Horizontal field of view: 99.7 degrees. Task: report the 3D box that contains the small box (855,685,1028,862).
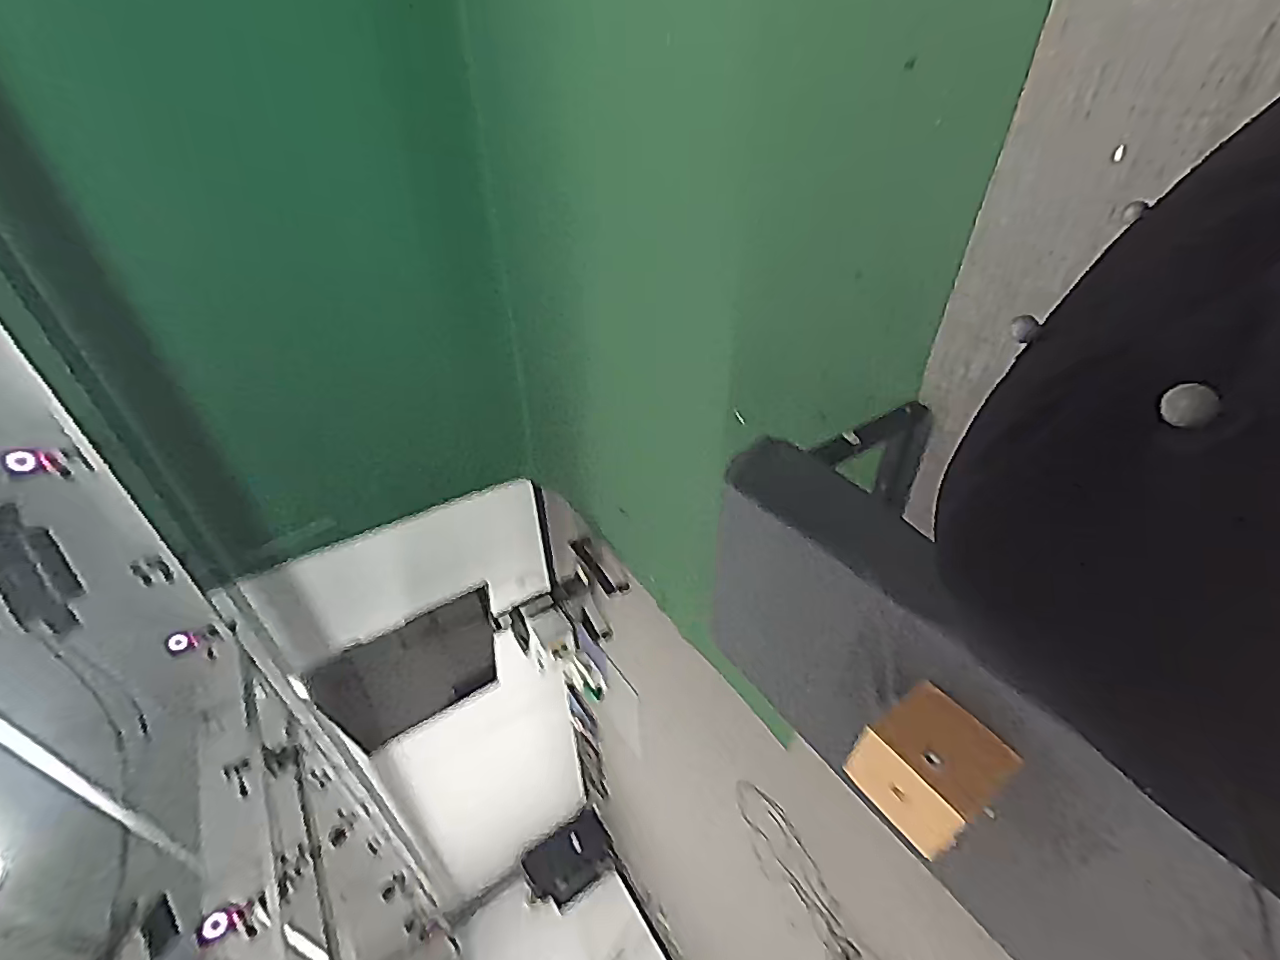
[{"bbox_3d":[0.510,0.491,0.923,0.179,0.176,0.168,43,144,42],"label":"small box"}]
